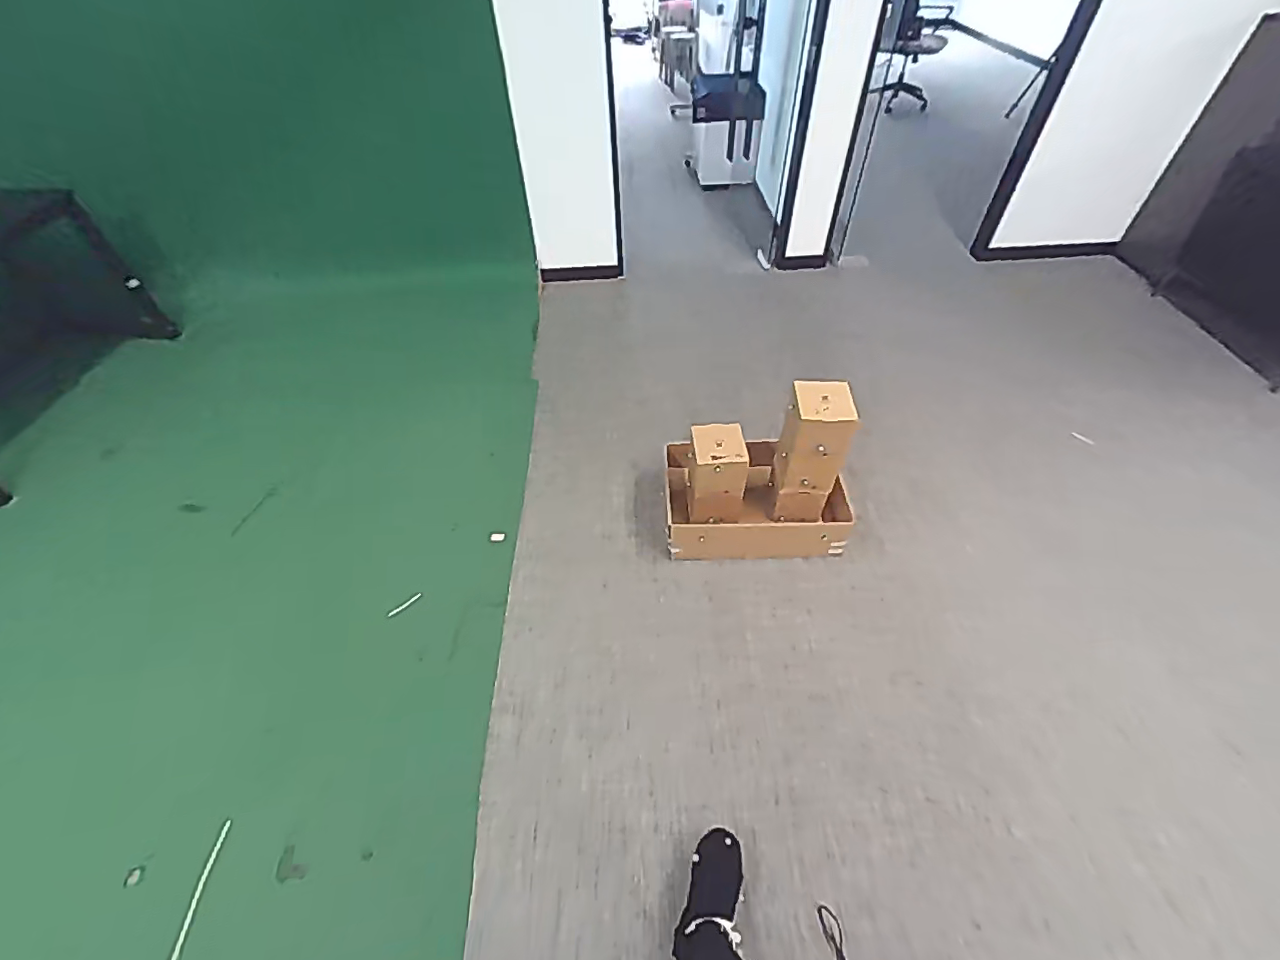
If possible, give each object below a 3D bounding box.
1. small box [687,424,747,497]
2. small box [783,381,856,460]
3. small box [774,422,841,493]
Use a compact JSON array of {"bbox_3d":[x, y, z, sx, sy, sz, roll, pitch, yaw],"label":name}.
[{"bbox_3d":[0.250,-0.063,1.791,0.168,0.176,0.179,-4,48,-1],"label":"small box"},{"bbox_3d":[0.547,-0.183,1.671,0.168,0.176,0.179,2,50,3],"label":"small box"},{"bbox_3d":[0.549,-0.078,1.798,0.168,0.176,0.179,2,50,2],"label":"small box"}]
